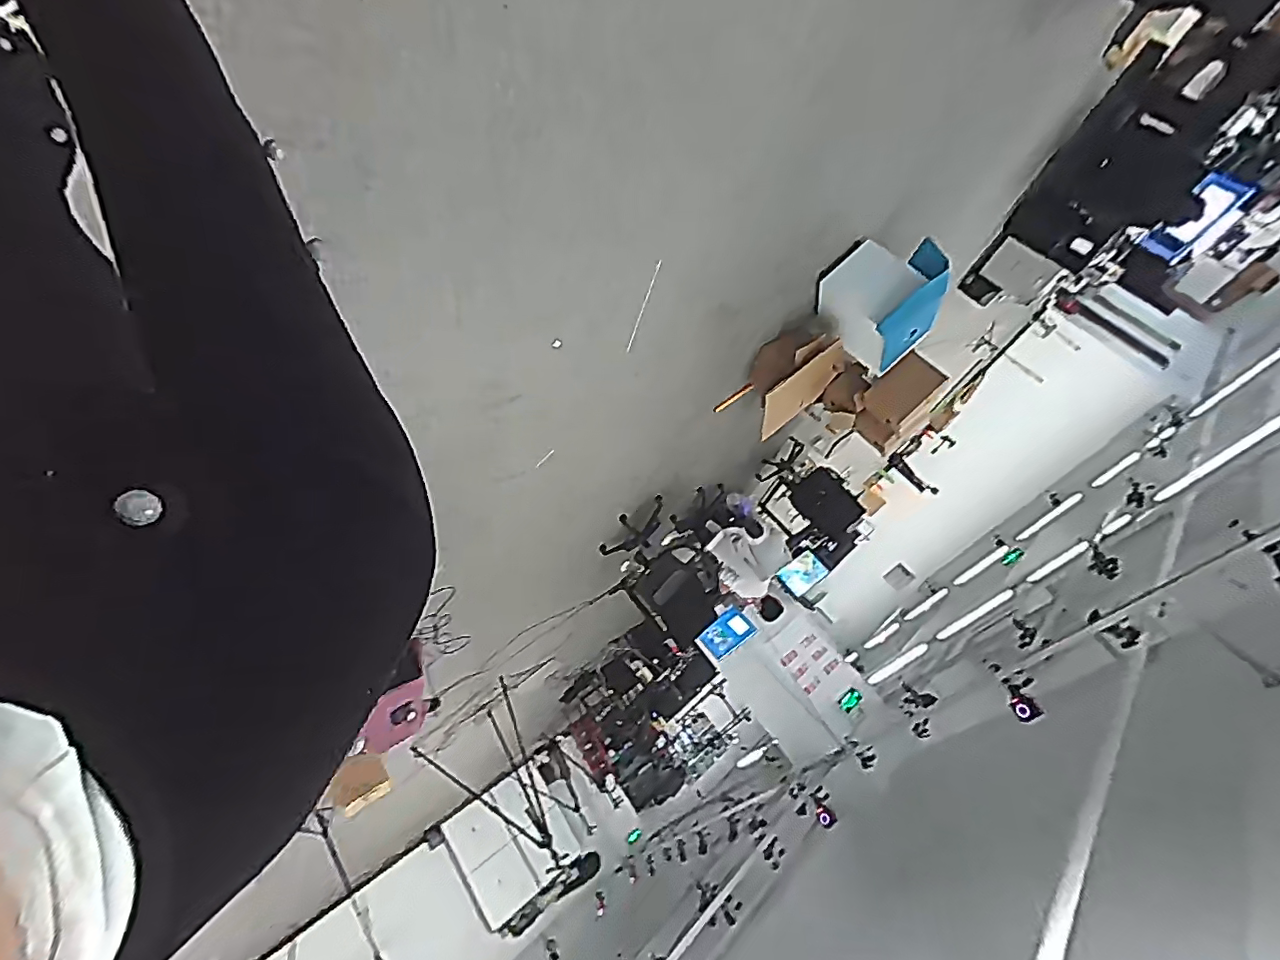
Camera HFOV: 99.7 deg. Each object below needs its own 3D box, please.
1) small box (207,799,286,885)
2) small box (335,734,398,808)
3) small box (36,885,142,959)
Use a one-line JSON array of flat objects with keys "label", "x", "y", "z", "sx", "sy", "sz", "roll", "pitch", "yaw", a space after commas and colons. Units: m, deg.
[{"label": "small box", "x": -1.324, "y": 1.216, "z": 1.823, "sx": 0.168, "sy": 0.176, "sz": 0.179, "roll": -23, "pitch": 151, "yaw": -38}, {"label": "small box", "x": -1.039, "y": 1.100, "z": 2.053, "sx": 0.168, "sy": 0.176, "sz": 0.179, "roll": -23, "pitch": 152, "yaw": -37}, {"label": "small box", "x": -1.609, "y": 1.333, "z": 1.583, "sx": 0.168, "sy": 0.176, "sz": 0.179, "roll": -23, "pitch": 152, "yaw": -39}]
